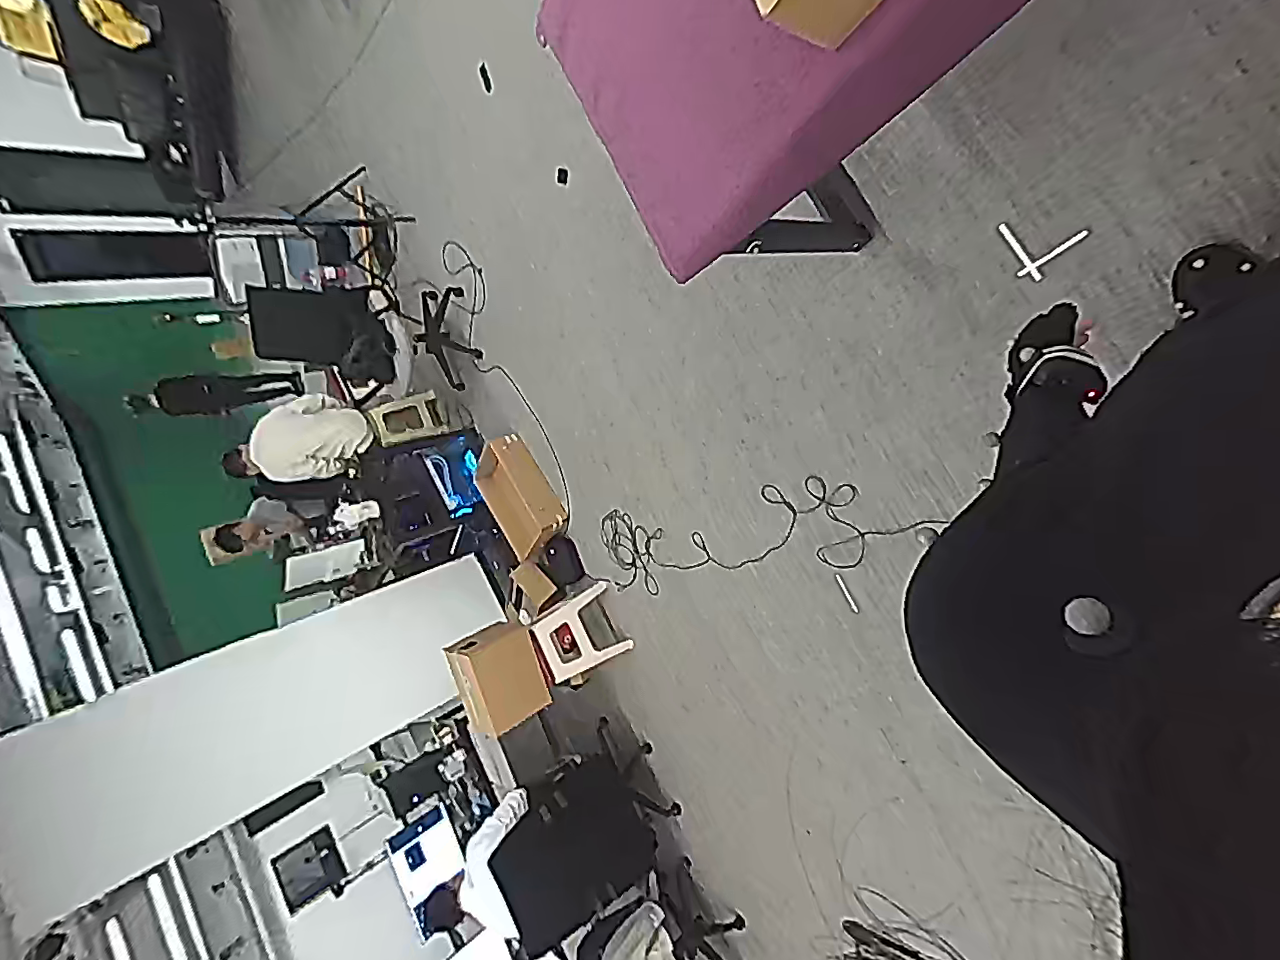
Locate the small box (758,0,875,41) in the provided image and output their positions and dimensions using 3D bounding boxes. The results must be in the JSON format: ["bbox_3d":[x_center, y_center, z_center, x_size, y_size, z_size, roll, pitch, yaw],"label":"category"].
[{"bbox_3d":[0.218,-0.654,0.606,0.179,0.176,0.168,-27,85,50],"label":"small box"}]
